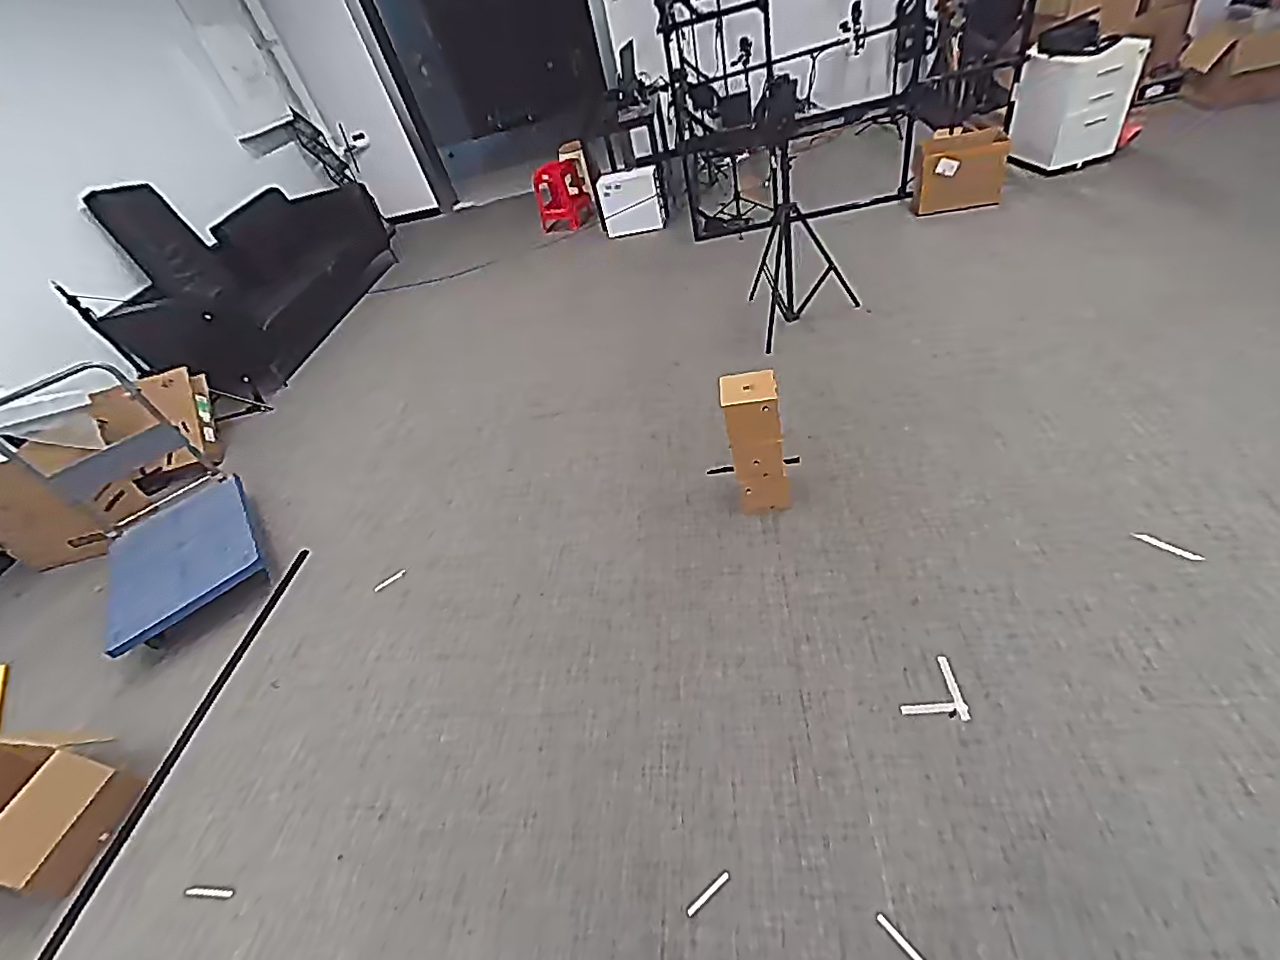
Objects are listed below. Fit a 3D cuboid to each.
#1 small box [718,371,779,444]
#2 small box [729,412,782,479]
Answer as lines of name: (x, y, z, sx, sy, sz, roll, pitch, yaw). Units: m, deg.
small box: (0.358, -0.232, 1.778, 0.179, 0.176, 0.168, -7, 43, 12)
small box: (0.405, -0.116, 1.882, 0.168, 0.176, 0.179, -4, 43, 15)
